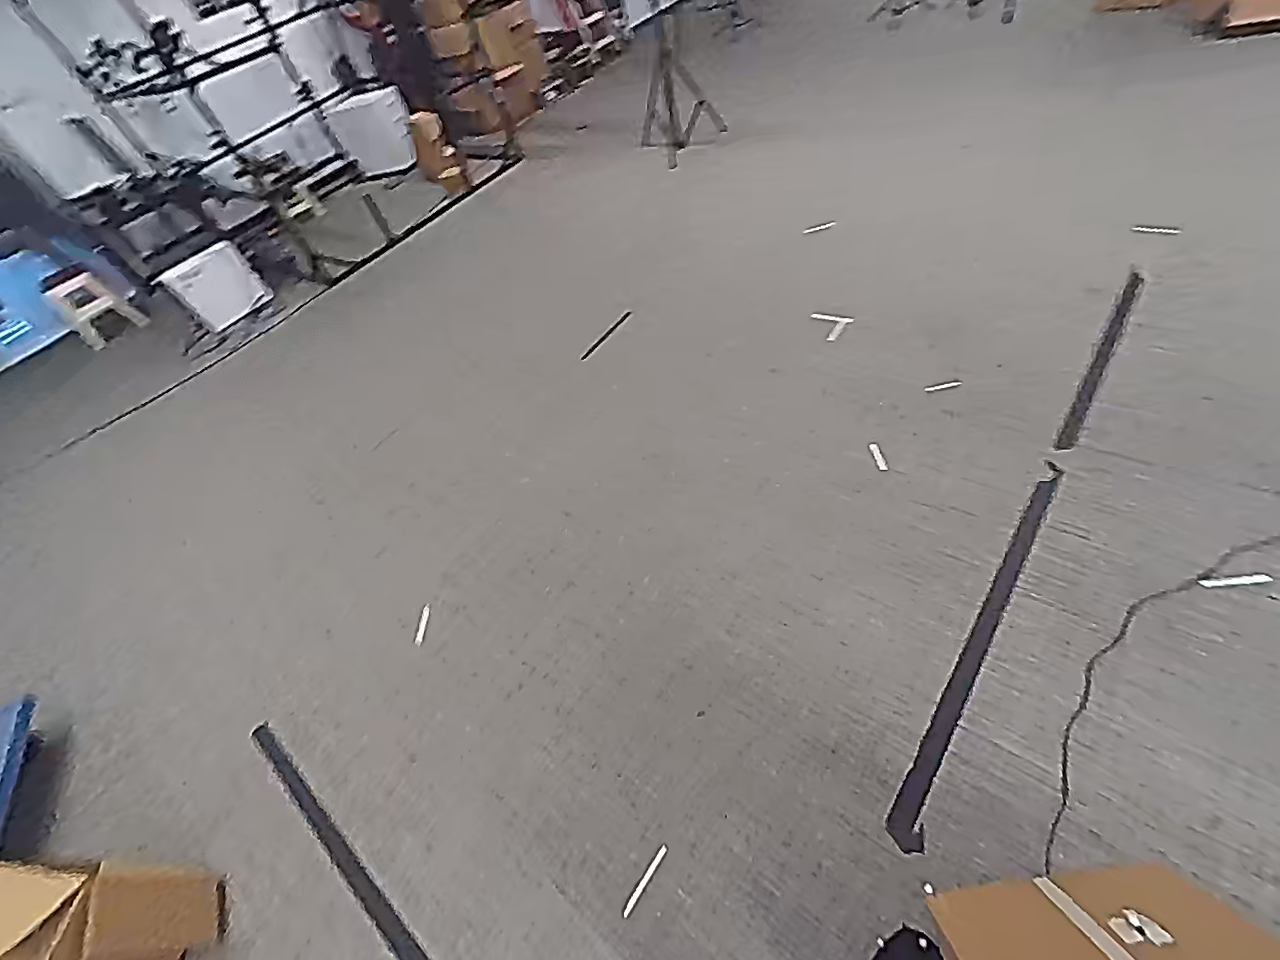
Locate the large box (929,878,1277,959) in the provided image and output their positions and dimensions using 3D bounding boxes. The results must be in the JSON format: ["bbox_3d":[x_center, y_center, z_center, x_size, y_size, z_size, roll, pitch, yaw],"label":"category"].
[{"bbox_3d":[0.558,0.683,0.534,0.320,0.408,0.320,-14,75,8],"label":"large box"}]
